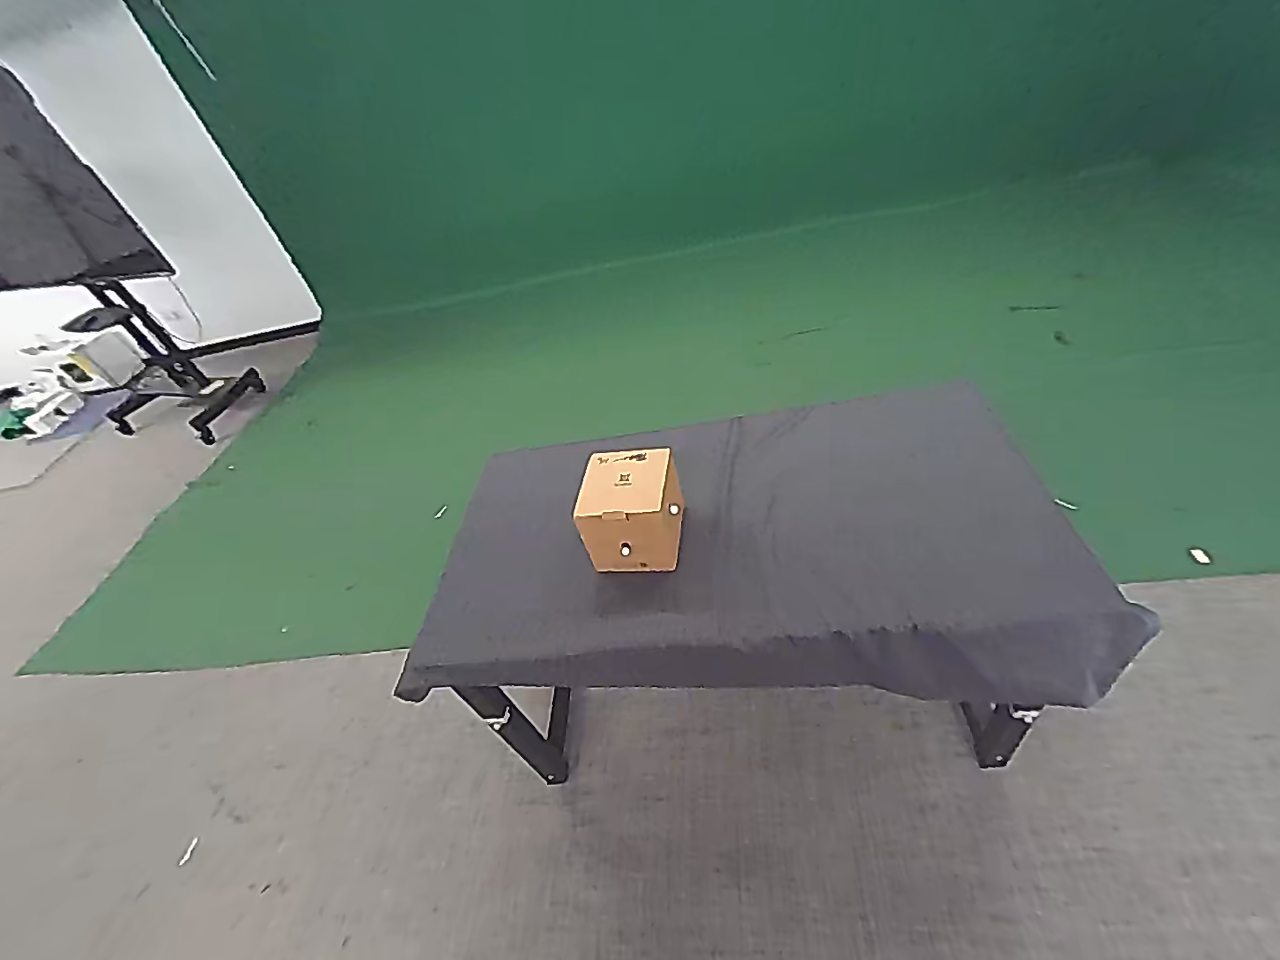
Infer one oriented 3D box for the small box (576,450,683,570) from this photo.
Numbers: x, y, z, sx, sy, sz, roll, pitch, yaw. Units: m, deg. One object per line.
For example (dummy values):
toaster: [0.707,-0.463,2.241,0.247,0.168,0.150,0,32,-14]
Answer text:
small box: [-0.012,0.066,1.077,0.168,0.176,0.179,-6,42,13]
